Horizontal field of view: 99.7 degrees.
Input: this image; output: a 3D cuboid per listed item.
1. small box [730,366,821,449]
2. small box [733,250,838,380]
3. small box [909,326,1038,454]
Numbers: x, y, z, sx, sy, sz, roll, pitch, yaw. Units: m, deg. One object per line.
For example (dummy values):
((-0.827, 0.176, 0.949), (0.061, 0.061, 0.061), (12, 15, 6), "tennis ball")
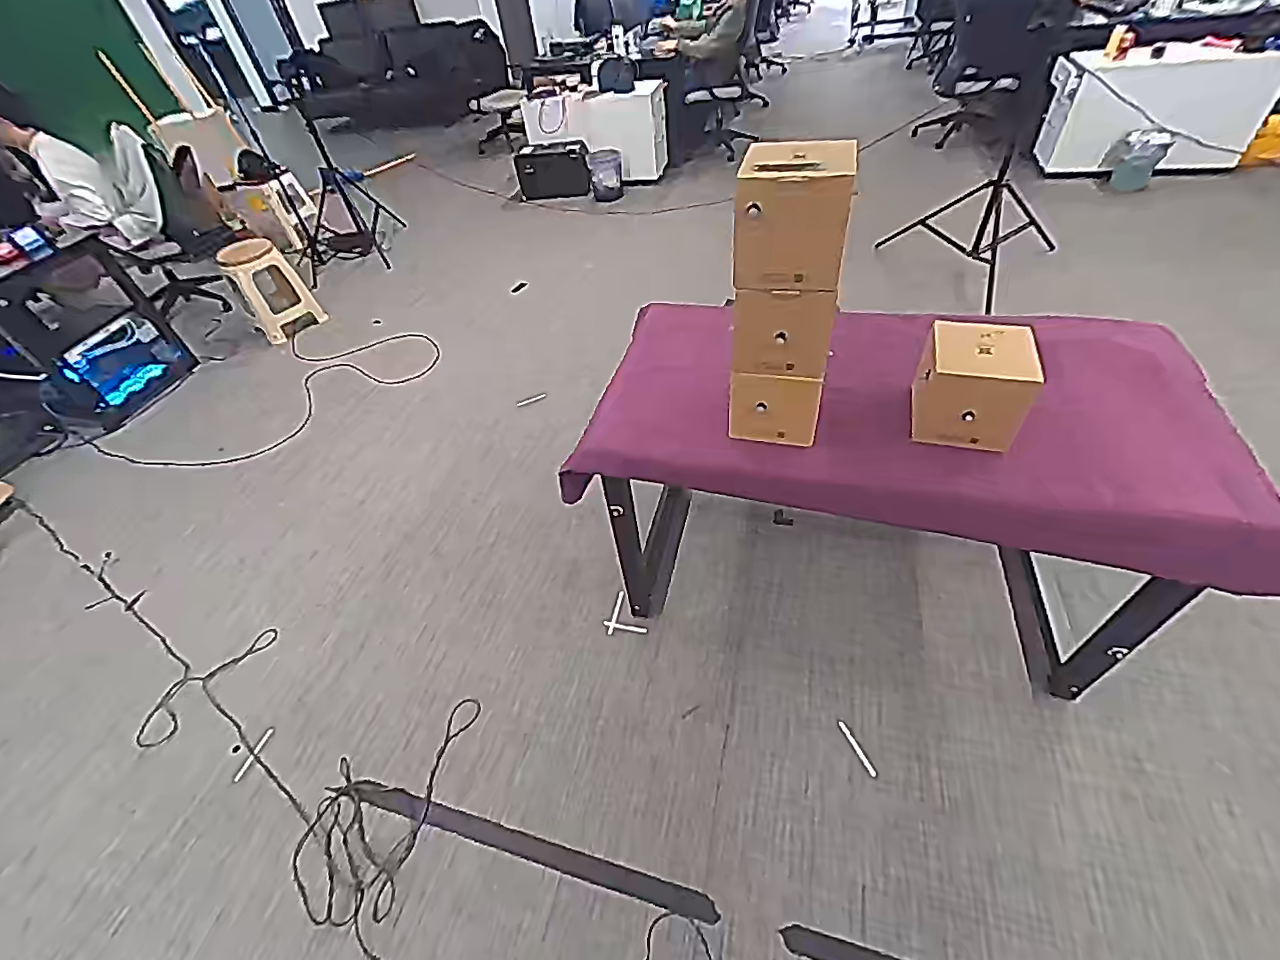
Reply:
((0.280, -0.184, 1.105), (0.168, 0.176, 0.179), (9, 47, 15), "small box")
((0.264, -0.302, 0.992), (0.168, 0.176, 0.179), (7, 48, 14), "small box")
((0.630, -0.172, 1.042), (0.168, 0.176, 0.179), (10, 48, 16), "small box")
